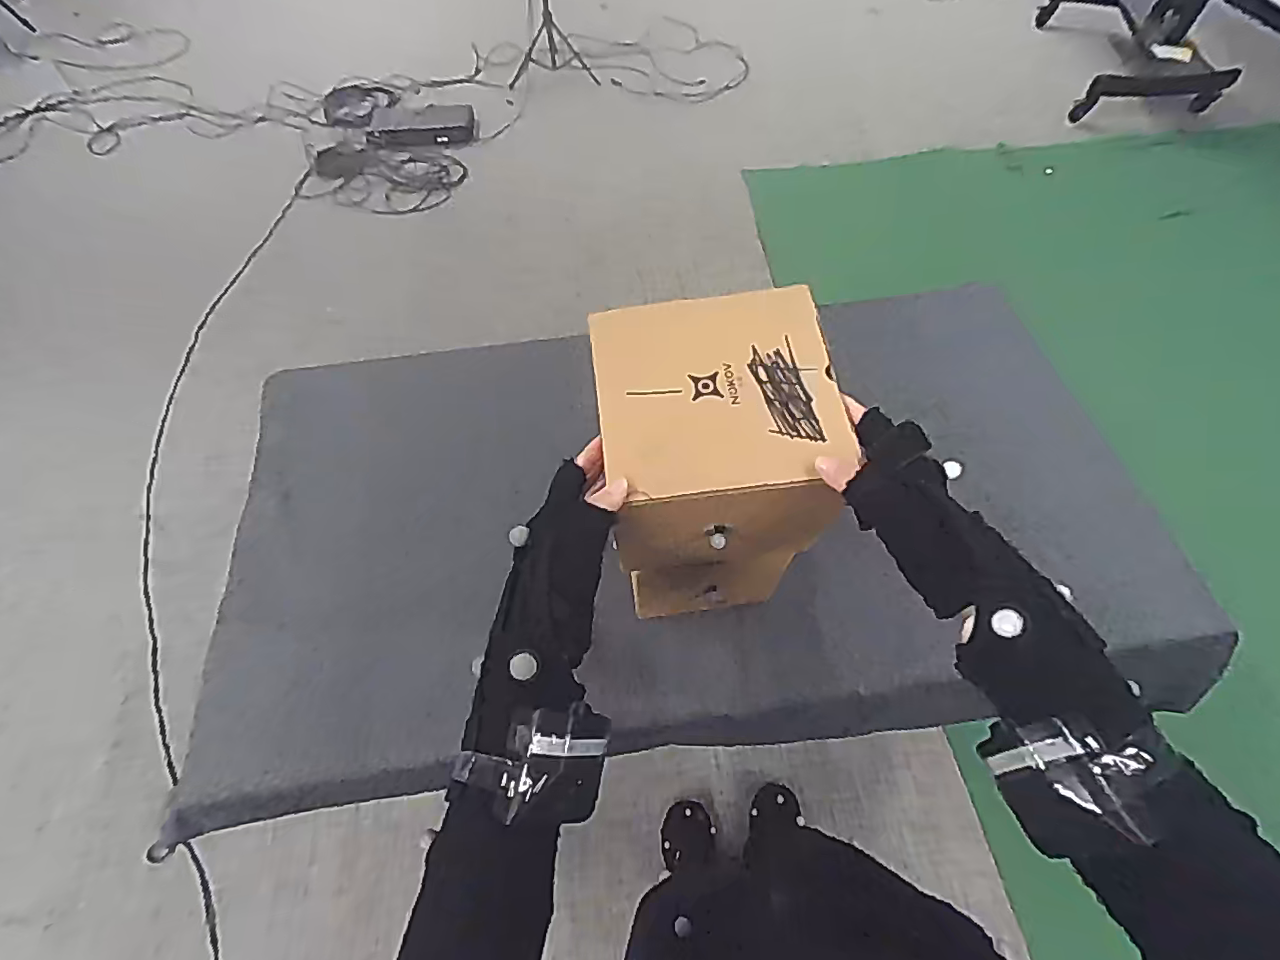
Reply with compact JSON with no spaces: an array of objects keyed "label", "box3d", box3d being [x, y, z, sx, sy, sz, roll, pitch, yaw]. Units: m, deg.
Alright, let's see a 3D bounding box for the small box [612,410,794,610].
[{"label":"small box","box3d":[0.065,0.045,0.640,0.168,0.176,0.179,-9,61,-3]}]
